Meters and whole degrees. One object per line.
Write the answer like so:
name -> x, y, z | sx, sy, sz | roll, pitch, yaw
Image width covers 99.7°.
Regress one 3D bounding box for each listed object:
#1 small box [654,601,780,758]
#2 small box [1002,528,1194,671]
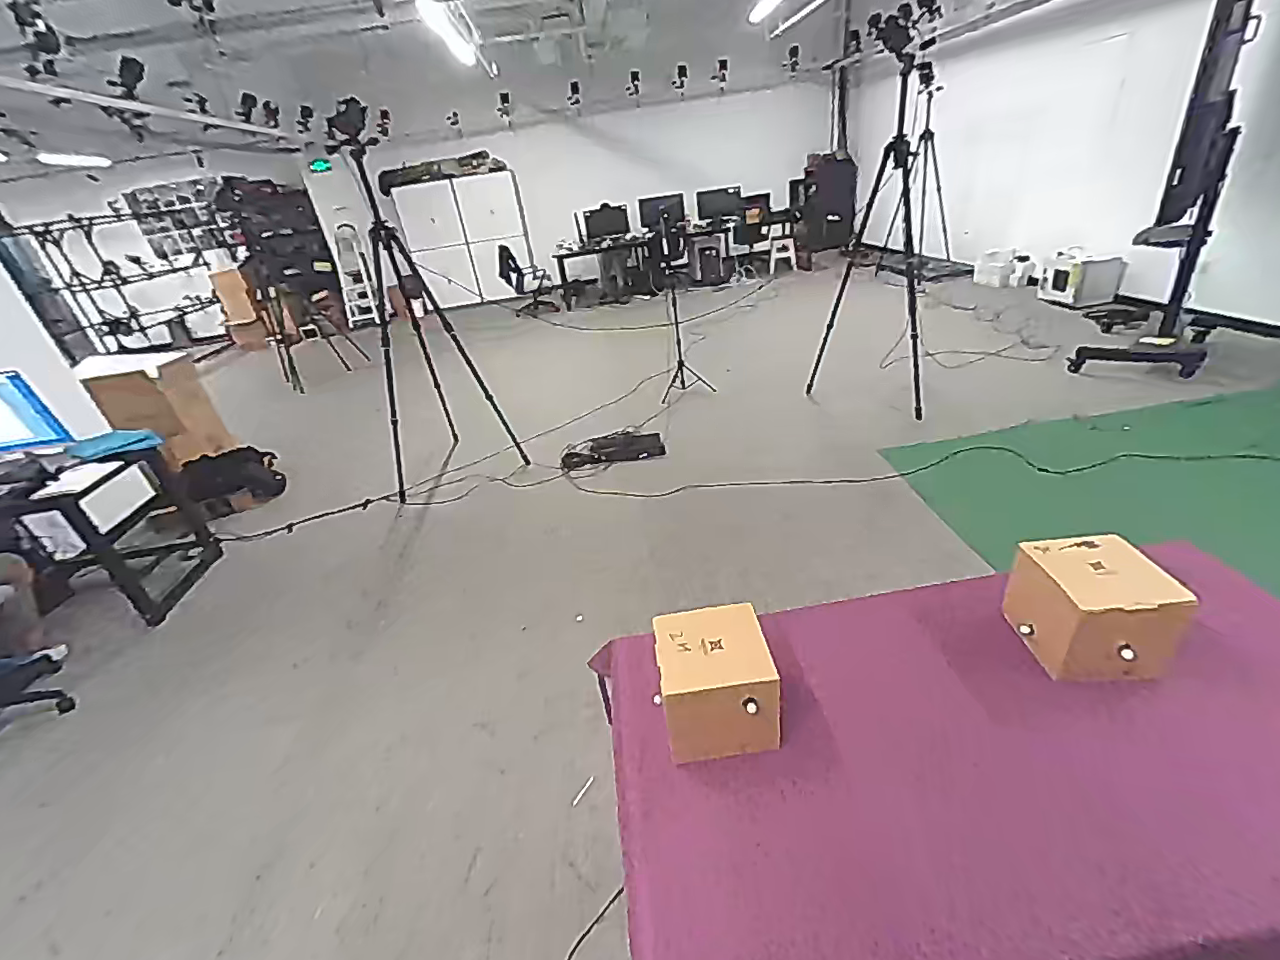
small box -> 0.124, 0.329, 0.896 | 0.179, 0.176, 0.168 | -9, 29, 1
small box -> 0.756, 0.206, 0.917 | 0.168, 0.176, 0.179 | -6, 30, 6
